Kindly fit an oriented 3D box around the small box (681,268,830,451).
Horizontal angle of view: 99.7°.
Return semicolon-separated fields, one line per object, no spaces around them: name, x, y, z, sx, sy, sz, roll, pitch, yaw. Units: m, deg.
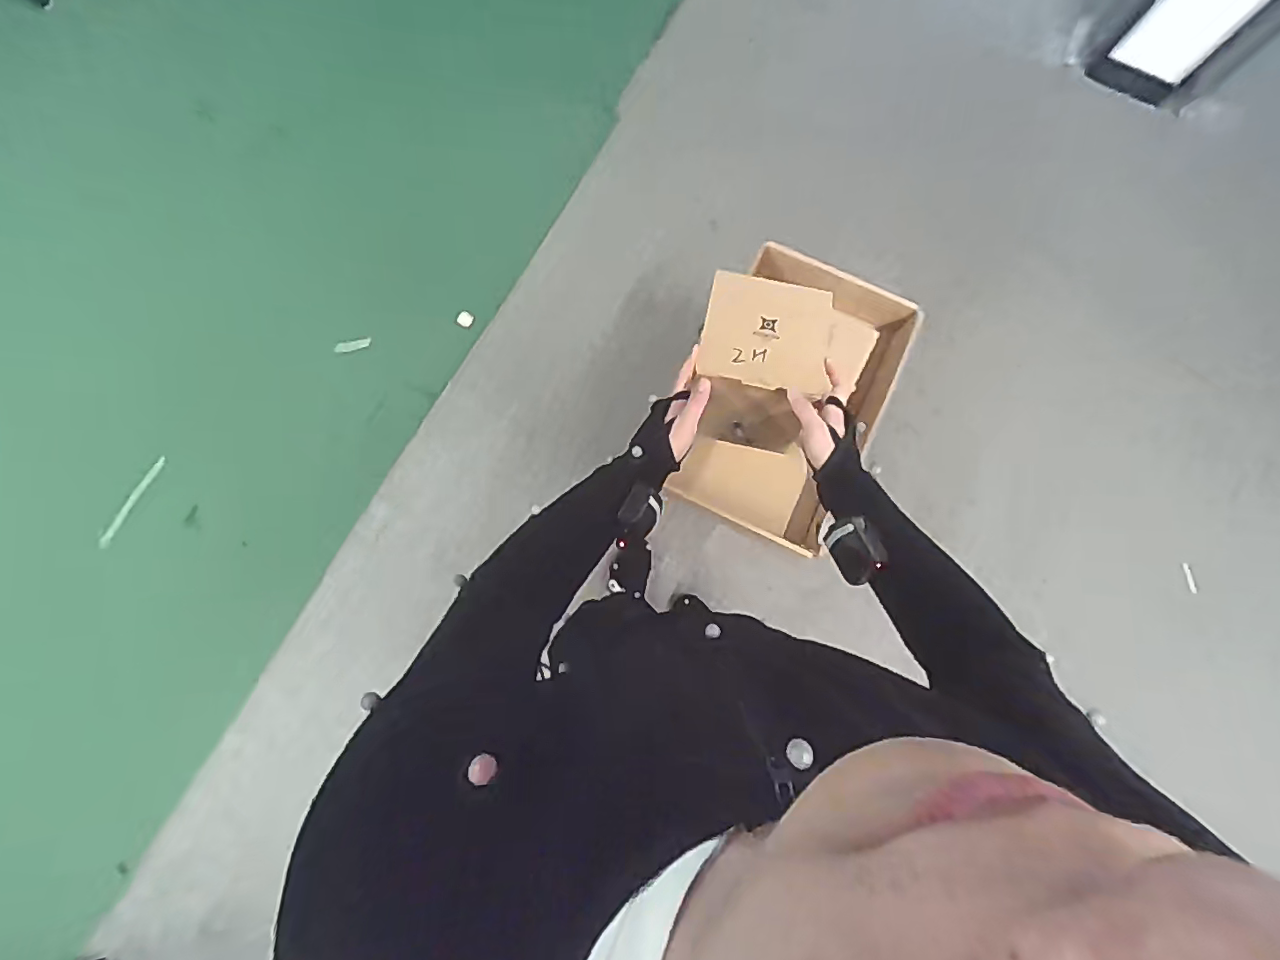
small box;0.157;-0.165;0.776;0.168;0.176;0.179;12;68;3

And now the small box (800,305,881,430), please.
small box;0.323;-0.219;1.044;0.168;0.176;0.179;29;80;4
